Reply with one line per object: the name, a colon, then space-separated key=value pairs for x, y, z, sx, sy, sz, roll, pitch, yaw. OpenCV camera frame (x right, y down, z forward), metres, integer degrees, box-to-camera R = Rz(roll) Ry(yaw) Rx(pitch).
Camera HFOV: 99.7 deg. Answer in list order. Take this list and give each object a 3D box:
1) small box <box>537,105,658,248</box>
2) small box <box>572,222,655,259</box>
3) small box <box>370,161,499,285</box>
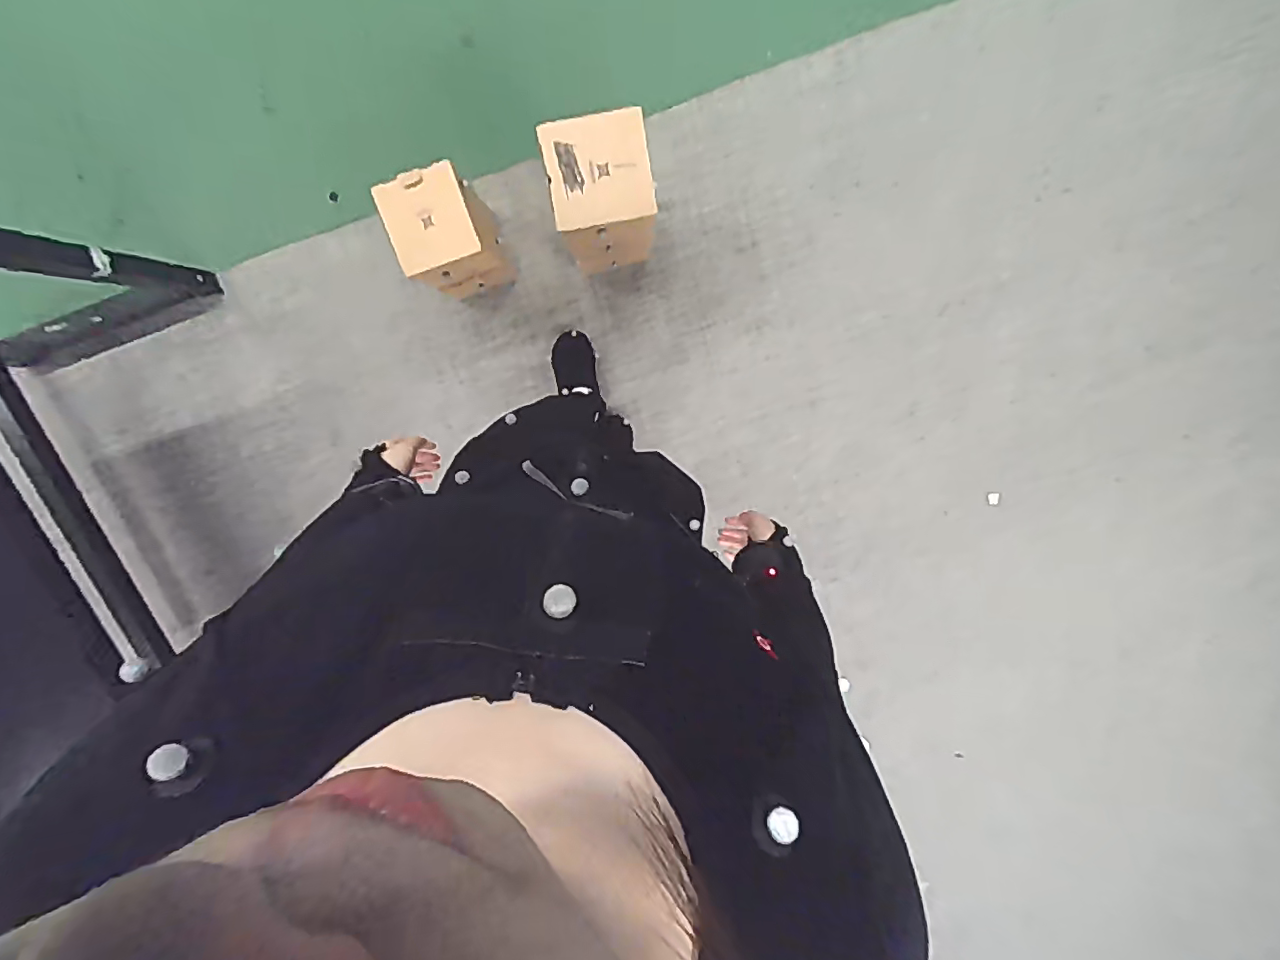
small box: x=-0.069 y=-0.523 z=0.956 sx=0.179 sy=0.176 sz=0.168 roll=-10 pitch=103 yaw=0
small box: x=-0.067 y=-0.562 z=1.116 sx=0.179 sy=0.176 sz=0.168 roll=-8 pitch=104 yaw=0
small box: x=-0.412 y=-0.517 z=1.119 sx=0.168 sy=0.176 sz=0.179 roll=-19 pitch=101 yaw=3
